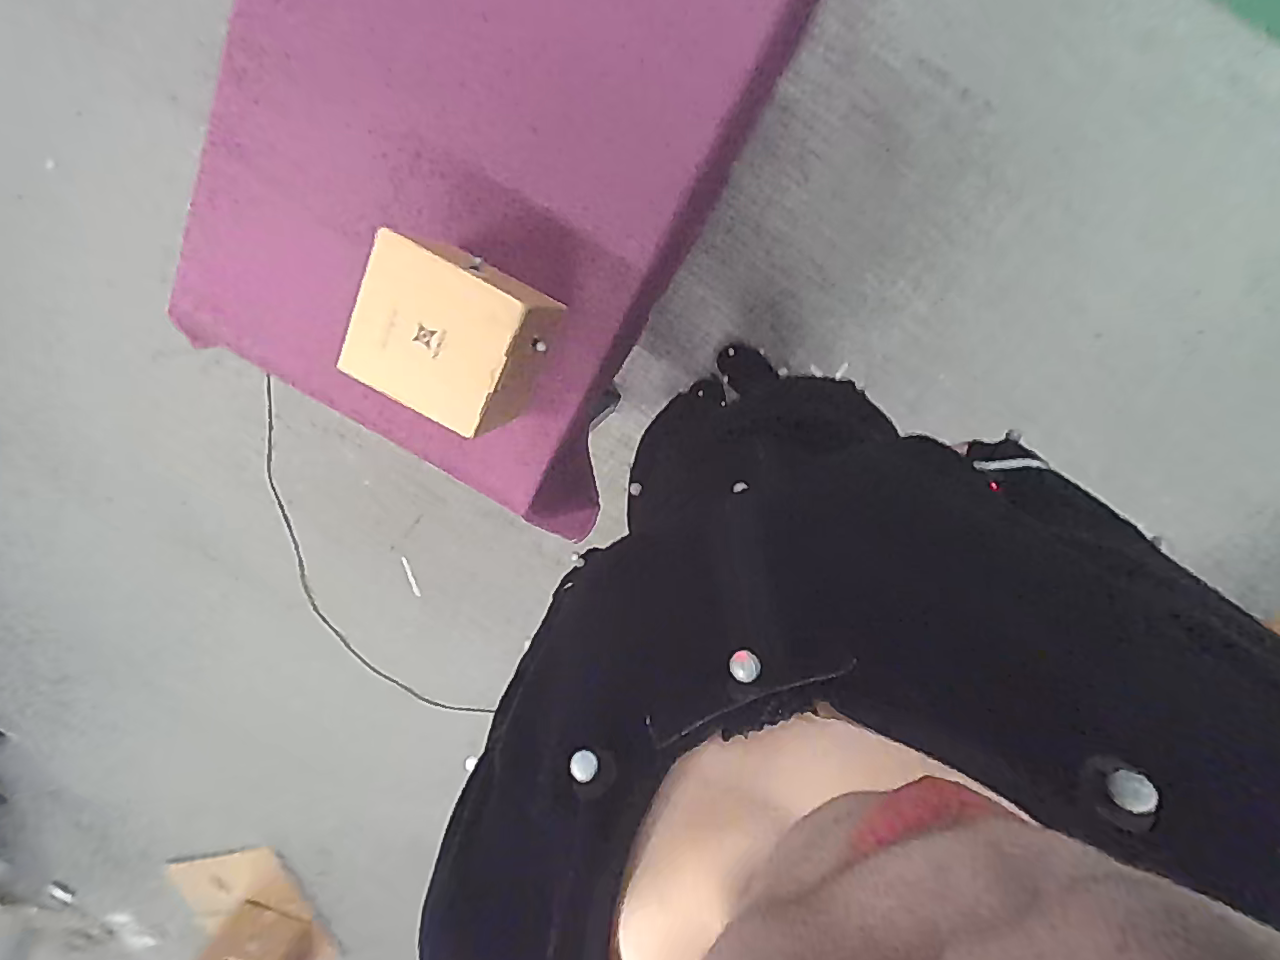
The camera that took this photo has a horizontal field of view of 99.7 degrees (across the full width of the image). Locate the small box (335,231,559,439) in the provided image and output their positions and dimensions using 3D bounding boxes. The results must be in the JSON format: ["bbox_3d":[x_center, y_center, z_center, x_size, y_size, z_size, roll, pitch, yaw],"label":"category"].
[{"bbox_3d":[-0.221,-0.176,0.662,0.179,0.176,0.168,29,108,0],"label":"small box"}]
